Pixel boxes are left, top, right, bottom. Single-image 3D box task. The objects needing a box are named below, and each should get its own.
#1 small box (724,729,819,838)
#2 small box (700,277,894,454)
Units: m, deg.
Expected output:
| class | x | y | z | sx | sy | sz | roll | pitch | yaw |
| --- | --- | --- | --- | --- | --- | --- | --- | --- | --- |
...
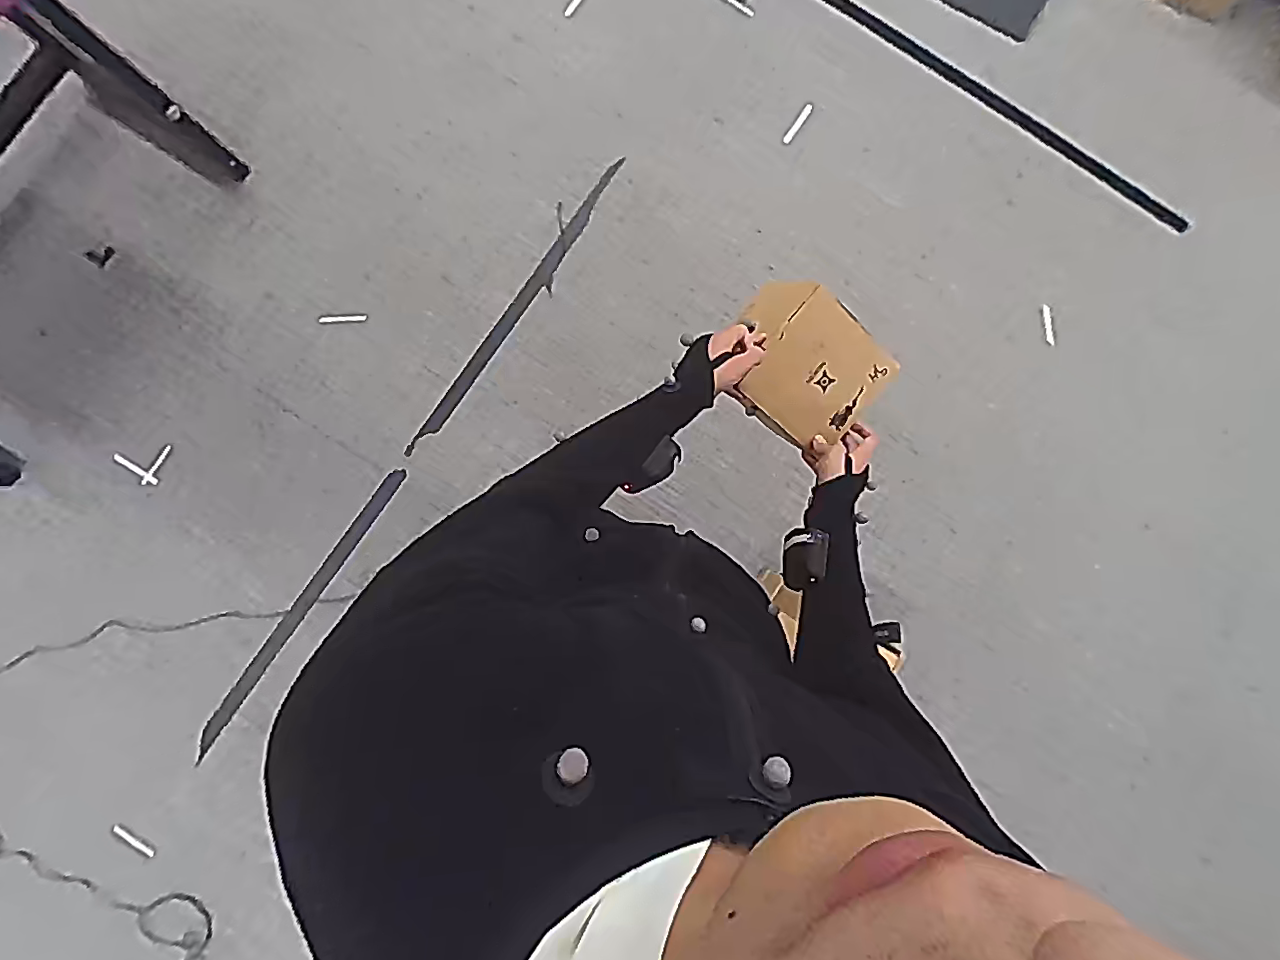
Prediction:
| class | x | y | z | sx | sy | sz | roll | pitch | yaw |
| --- | --- | --- | --- | --- | --- | --- | --- | --- | --- |
| small box | 0.353 | 0.823 | 1.488 | 0.179 | 0.176 | 0.168 | 33 | 86 | 3 |
| small box | 0.213 | -0.168 | 0.782 | 0.179 | 0.176 | 0.168 | 35 | 100 | -19 |
